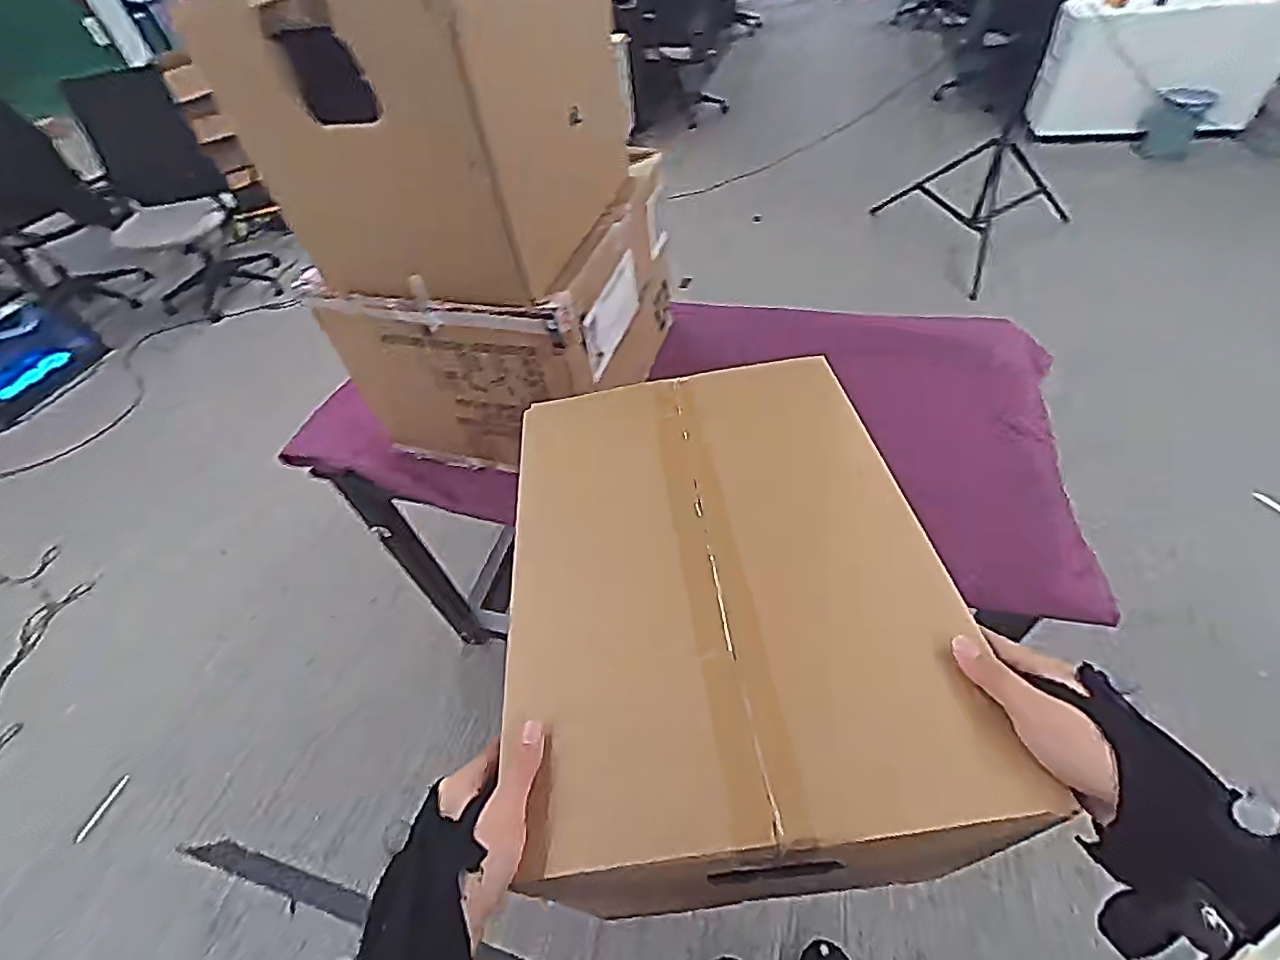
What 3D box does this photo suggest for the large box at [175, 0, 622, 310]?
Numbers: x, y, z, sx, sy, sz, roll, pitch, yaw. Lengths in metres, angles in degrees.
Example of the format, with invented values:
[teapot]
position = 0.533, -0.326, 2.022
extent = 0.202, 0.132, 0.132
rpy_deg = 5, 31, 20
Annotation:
[large box]
position = -0.234, -0.471, 0.707
extent = 0.320, 0.320, 0.408
rpy_deg = 6, 51, 15
